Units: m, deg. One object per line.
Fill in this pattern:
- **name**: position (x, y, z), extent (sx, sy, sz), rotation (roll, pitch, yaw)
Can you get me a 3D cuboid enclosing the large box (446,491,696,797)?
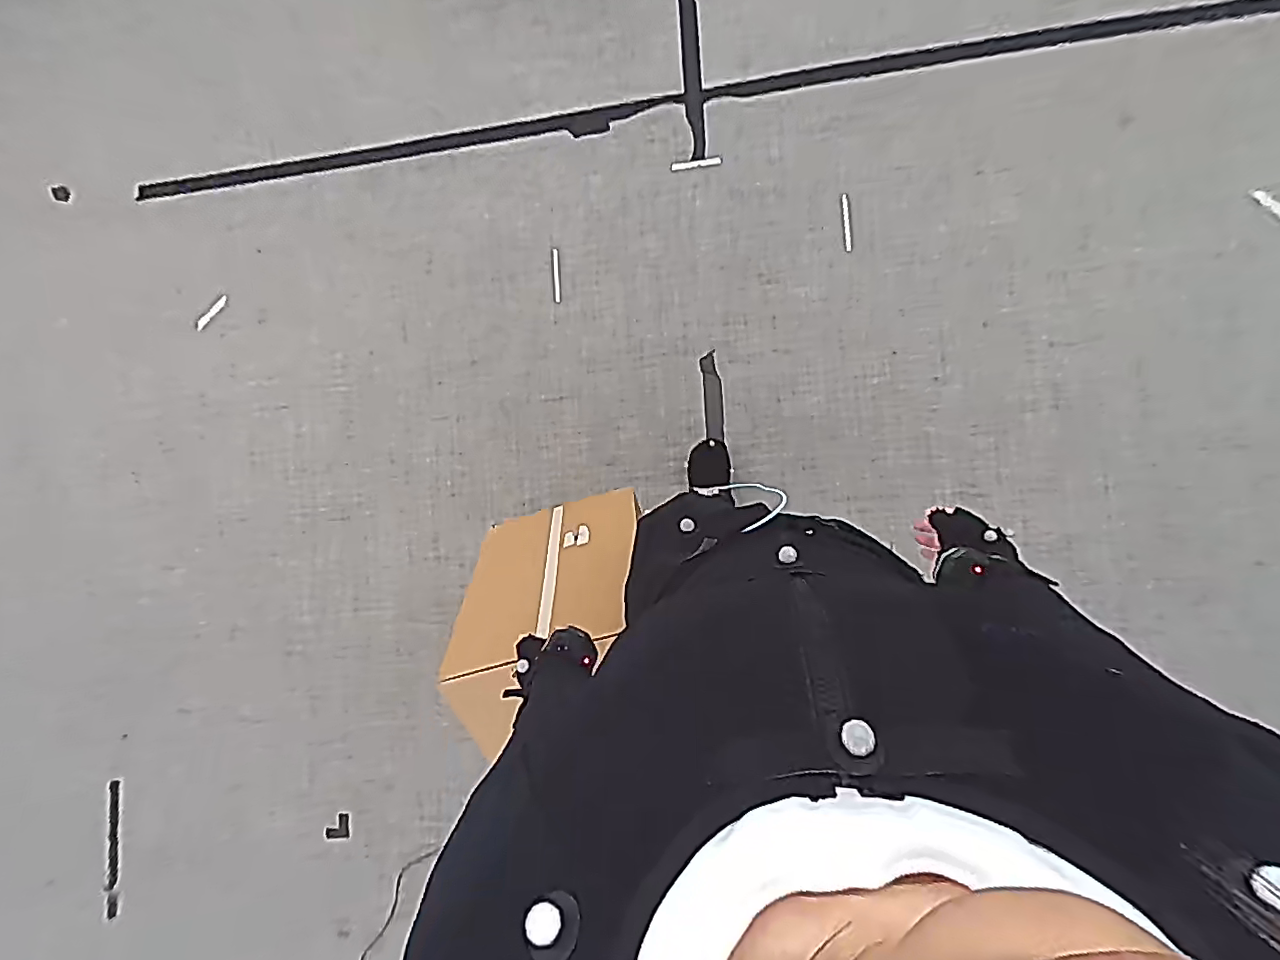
- **large box**: position (-0.107, 0.278, 0.999), extent (0.320, 0.408, 0.320), rotation (-15, 117, 4)
